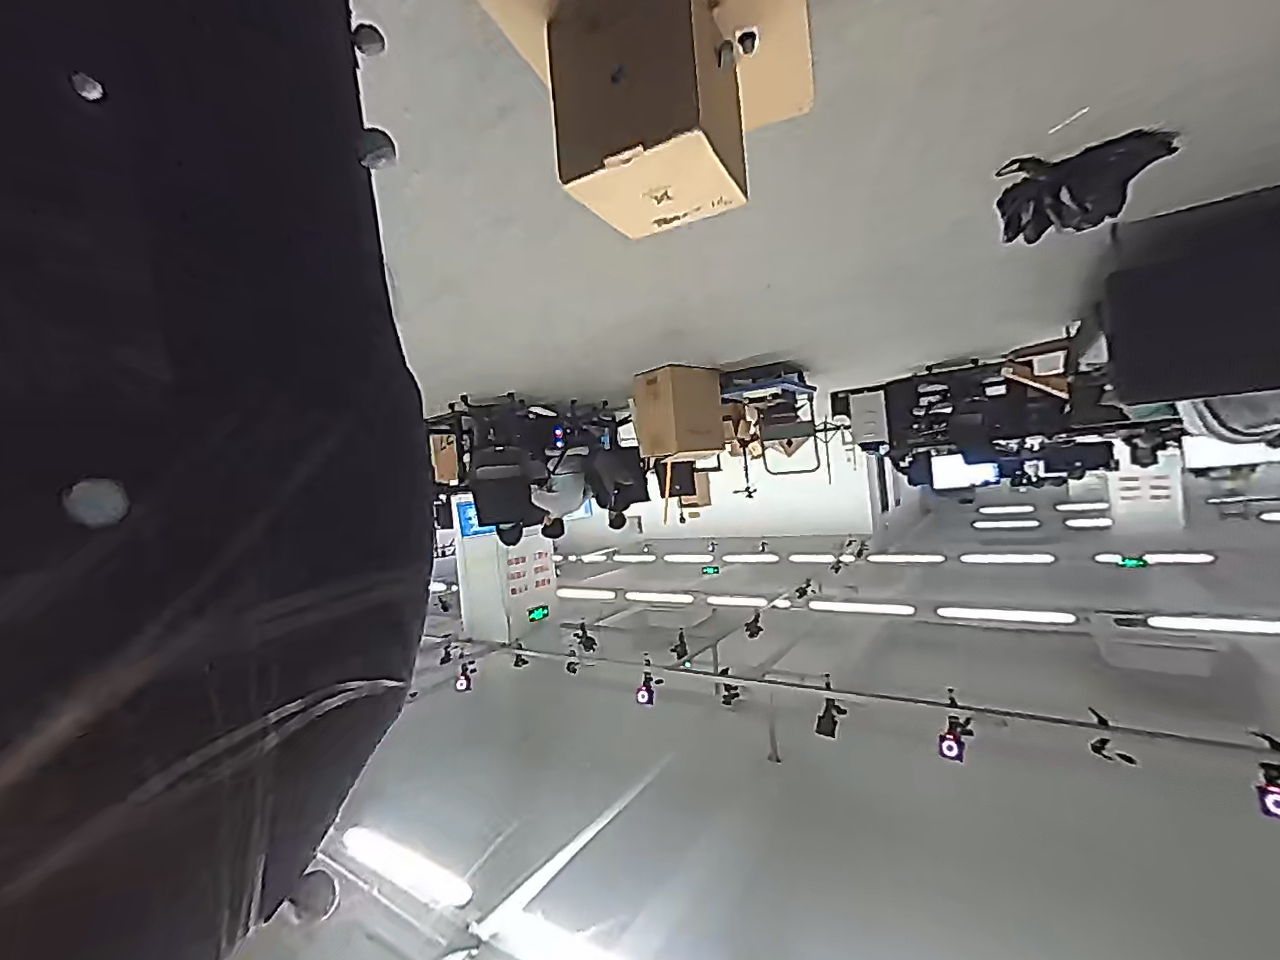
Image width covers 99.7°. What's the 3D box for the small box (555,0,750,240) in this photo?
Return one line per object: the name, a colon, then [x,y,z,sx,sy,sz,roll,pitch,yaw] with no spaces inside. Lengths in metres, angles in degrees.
small box: [0.018,-0.411,0.622,0.168,0.176,0.179,-5,180,27]
